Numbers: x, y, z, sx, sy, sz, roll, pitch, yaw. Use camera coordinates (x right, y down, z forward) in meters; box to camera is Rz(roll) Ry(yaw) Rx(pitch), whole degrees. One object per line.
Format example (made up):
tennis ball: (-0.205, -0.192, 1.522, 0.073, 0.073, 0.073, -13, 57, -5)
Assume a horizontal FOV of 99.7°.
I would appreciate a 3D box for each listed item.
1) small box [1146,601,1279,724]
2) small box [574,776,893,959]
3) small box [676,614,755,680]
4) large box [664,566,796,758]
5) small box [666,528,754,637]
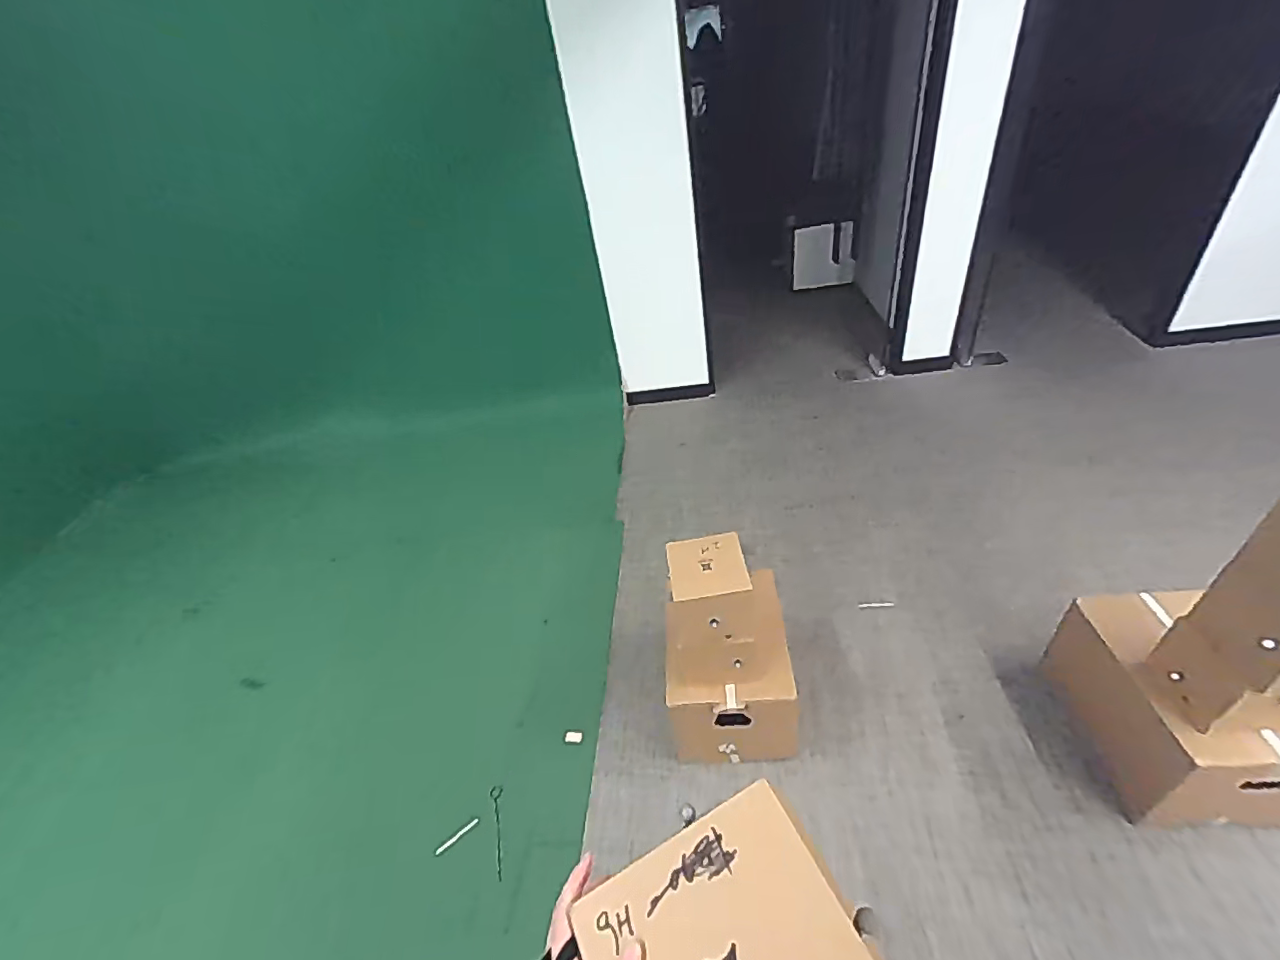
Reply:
small box: (1.181, 0.364, 1.074, 0.179, 0.176, 0.168, -8, 39, 7)
small box: (0.082, 0.345, 0.398, 0.168, 0.176, 0.179, -32, 57, -2)
small box: (0.184, 0.366, 1.317, 0.179, 0.176, 0.168, -8, 38, 7)
large box: (0.243, 0.506, 1.521, 0.320, 0.320, 0.408, -6, 38, 7)
small box: (0.158, 0.237, 1.219, 0.168, 0.176, 0.179, -9, 38, 3)
